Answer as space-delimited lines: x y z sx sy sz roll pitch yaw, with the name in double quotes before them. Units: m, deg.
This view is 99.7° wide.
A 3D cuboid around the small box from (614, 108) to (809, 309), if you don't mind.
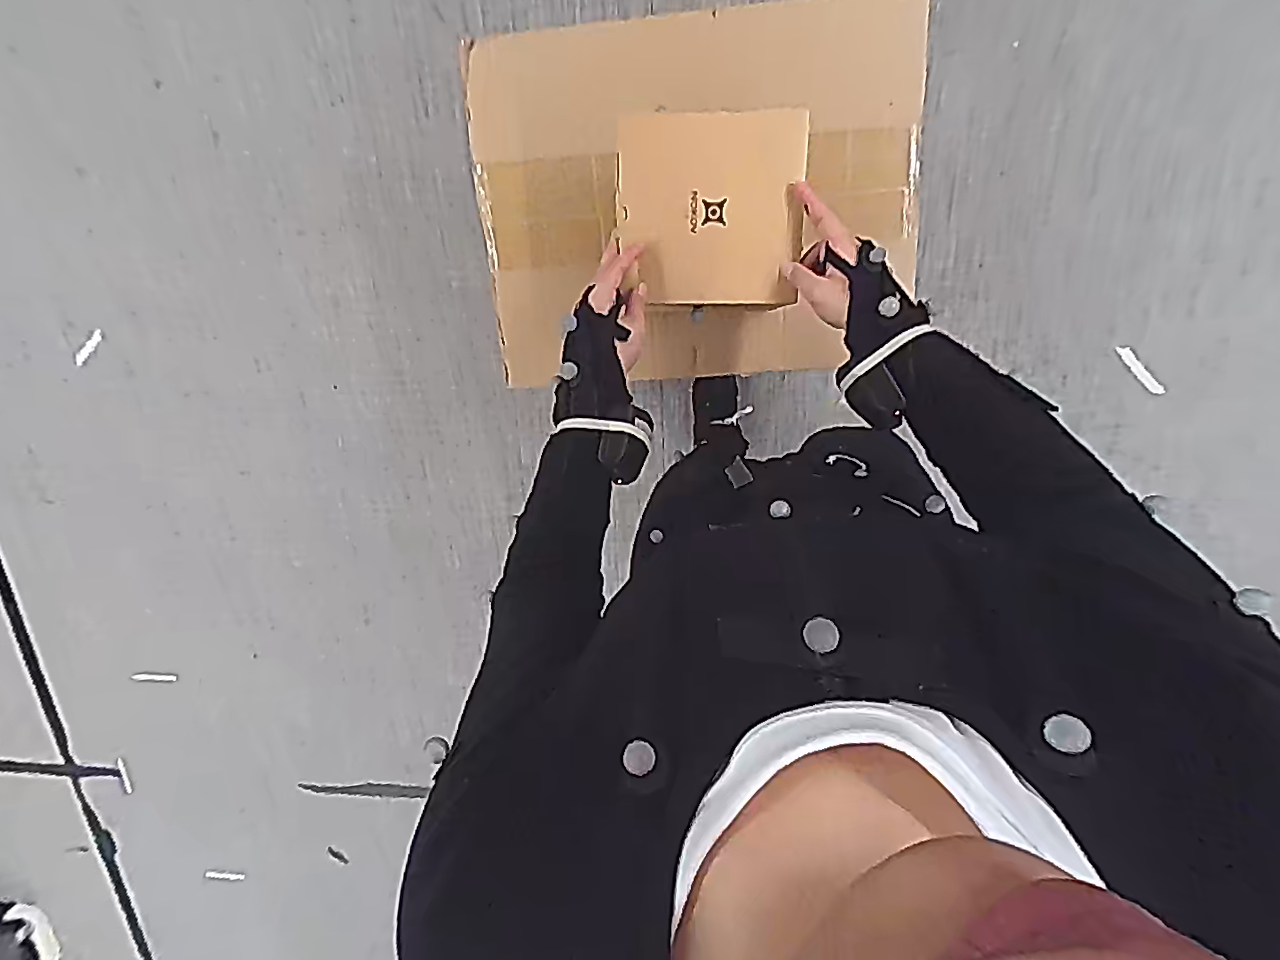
"small box" 0.069 -0.274 0.579 0.179 0.176 0.168 2 106 6
